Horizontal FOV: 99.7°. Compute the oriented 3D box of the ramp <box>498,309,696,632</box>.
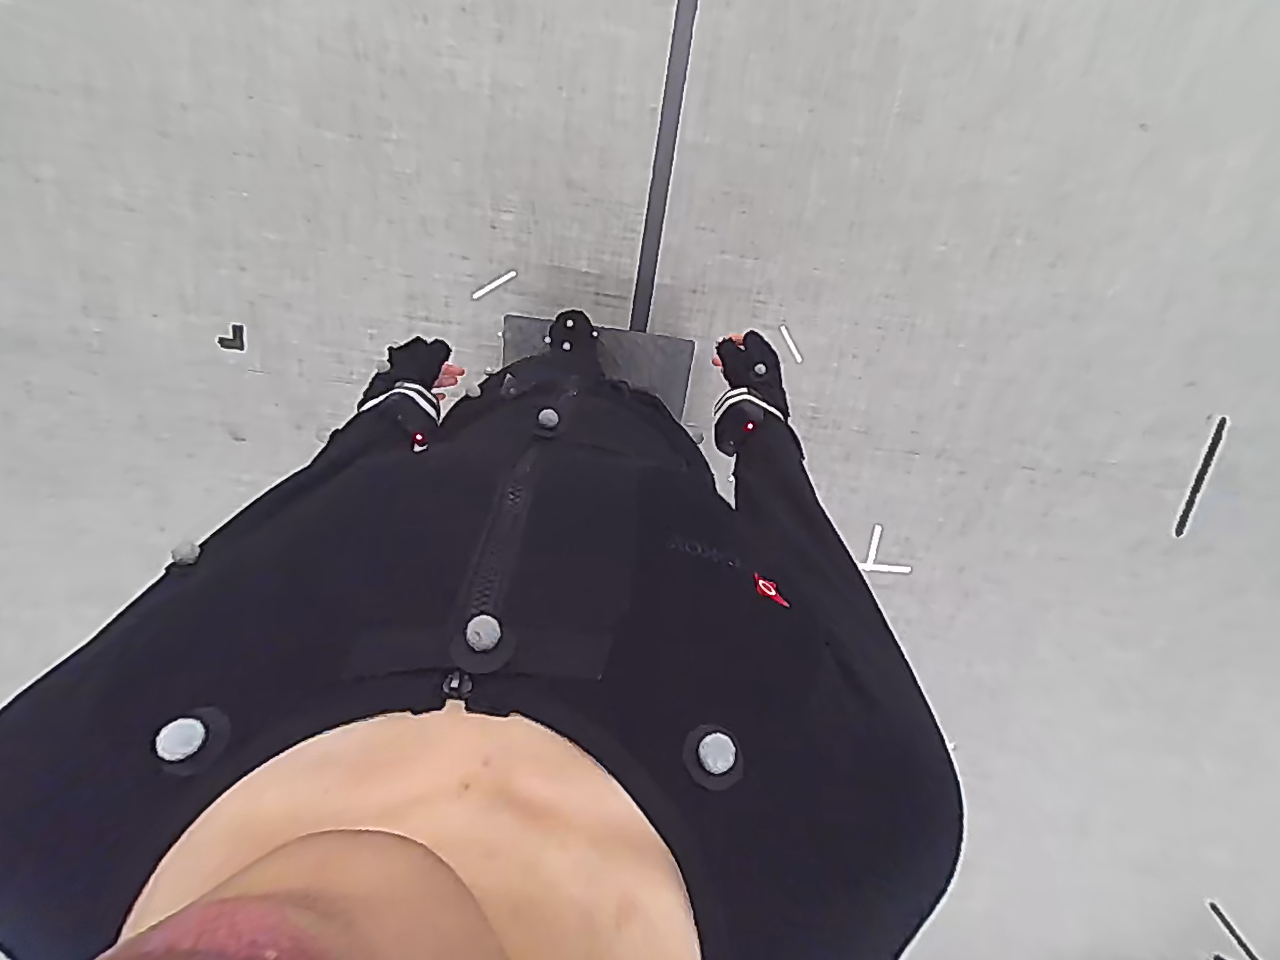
[{"bbox_3d":[-0.158,0.040,1.580,0.509,0.206,0.991,5,106,-4],"label":"ramp"}]
